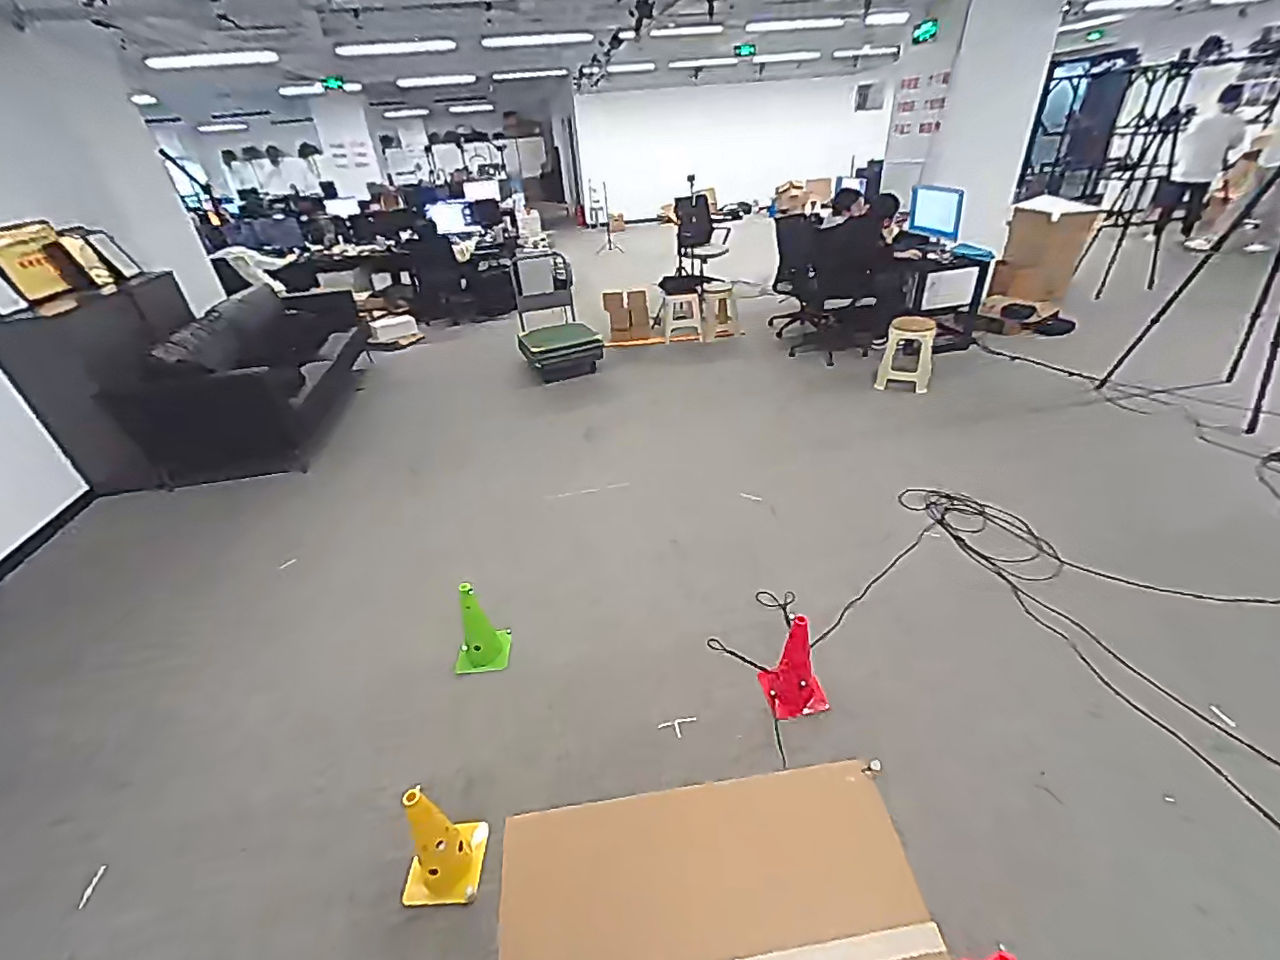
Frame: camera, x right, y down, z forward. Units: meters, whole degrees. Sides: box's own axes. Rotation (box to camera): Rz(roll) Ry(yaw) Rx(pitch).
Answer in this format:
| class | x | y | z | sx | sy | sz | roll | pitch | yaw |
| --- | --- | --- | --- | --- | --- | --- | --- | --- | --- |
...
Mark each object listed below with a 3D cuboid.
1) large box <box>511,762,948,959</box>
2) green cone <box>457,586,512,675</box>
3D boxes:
| class | x | y | z | sx | sy | sz | roll | pitch | yaw |
| --- | --- | --- | --- | --- | --- | --- | --- | --- | --- |
| large box | 0.088 | 0.560 | 0.591 | 0.408 | 0.320 | 0.320 | -8 | 45 | -5 |
| green cone | -0.631 | 0.546 | 2.064 | 0.200 | 0.368 | 0.202 | -7 | 34 | -2 |
